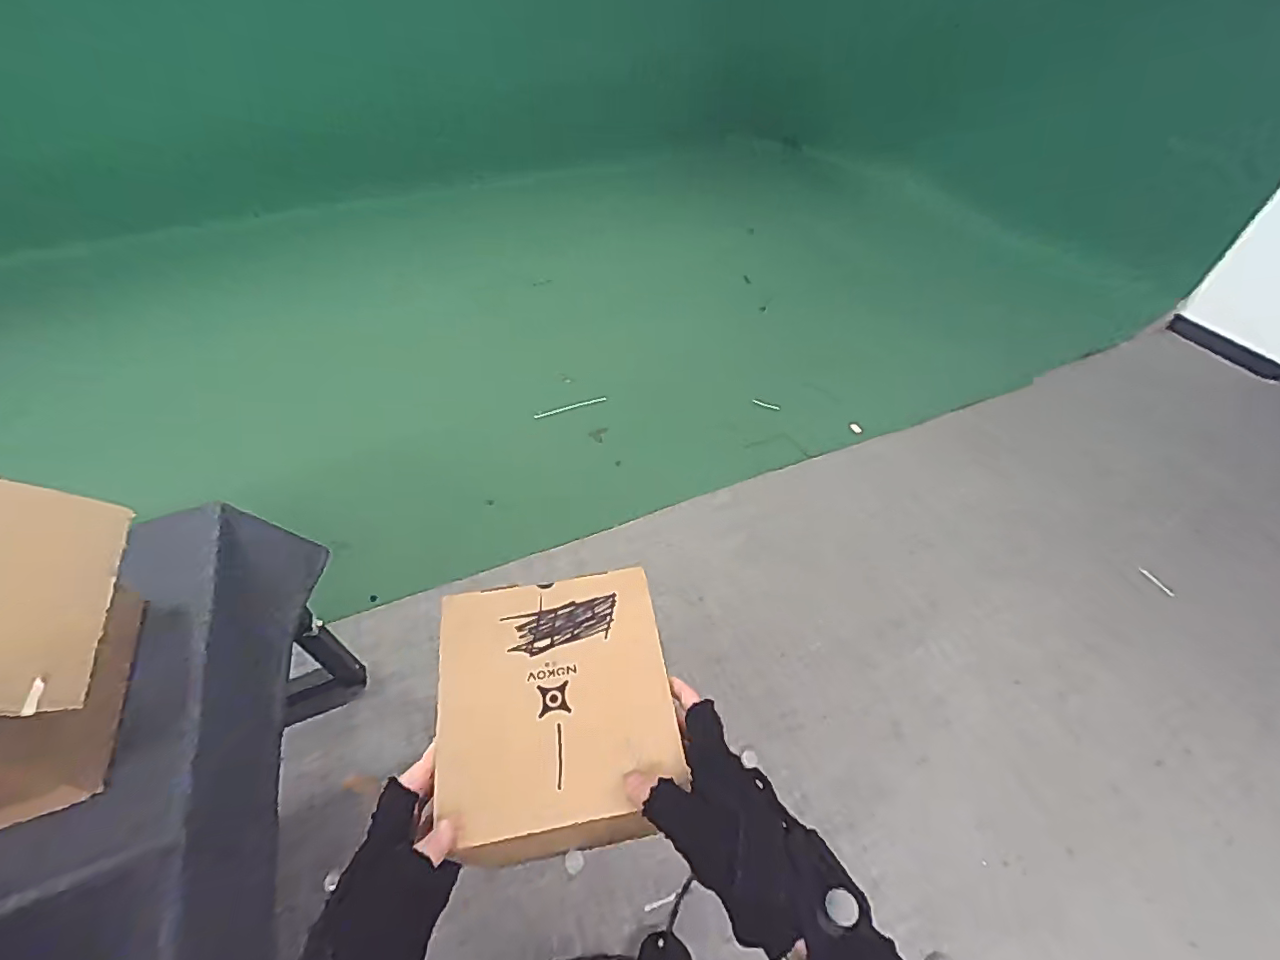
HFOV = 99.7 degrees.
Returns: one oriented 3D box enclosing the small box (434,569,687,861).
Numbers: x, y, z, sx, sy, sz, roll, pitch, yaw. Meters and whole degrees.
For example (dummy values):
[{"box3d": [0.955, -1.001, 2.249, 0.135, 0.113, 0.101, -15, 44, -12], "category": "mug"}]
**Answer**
[{"box3d": [-0.065, 0.200, 0.460, 0.168, 0.176, 0.179, -6, 52, -8], "category": "small box"}]
